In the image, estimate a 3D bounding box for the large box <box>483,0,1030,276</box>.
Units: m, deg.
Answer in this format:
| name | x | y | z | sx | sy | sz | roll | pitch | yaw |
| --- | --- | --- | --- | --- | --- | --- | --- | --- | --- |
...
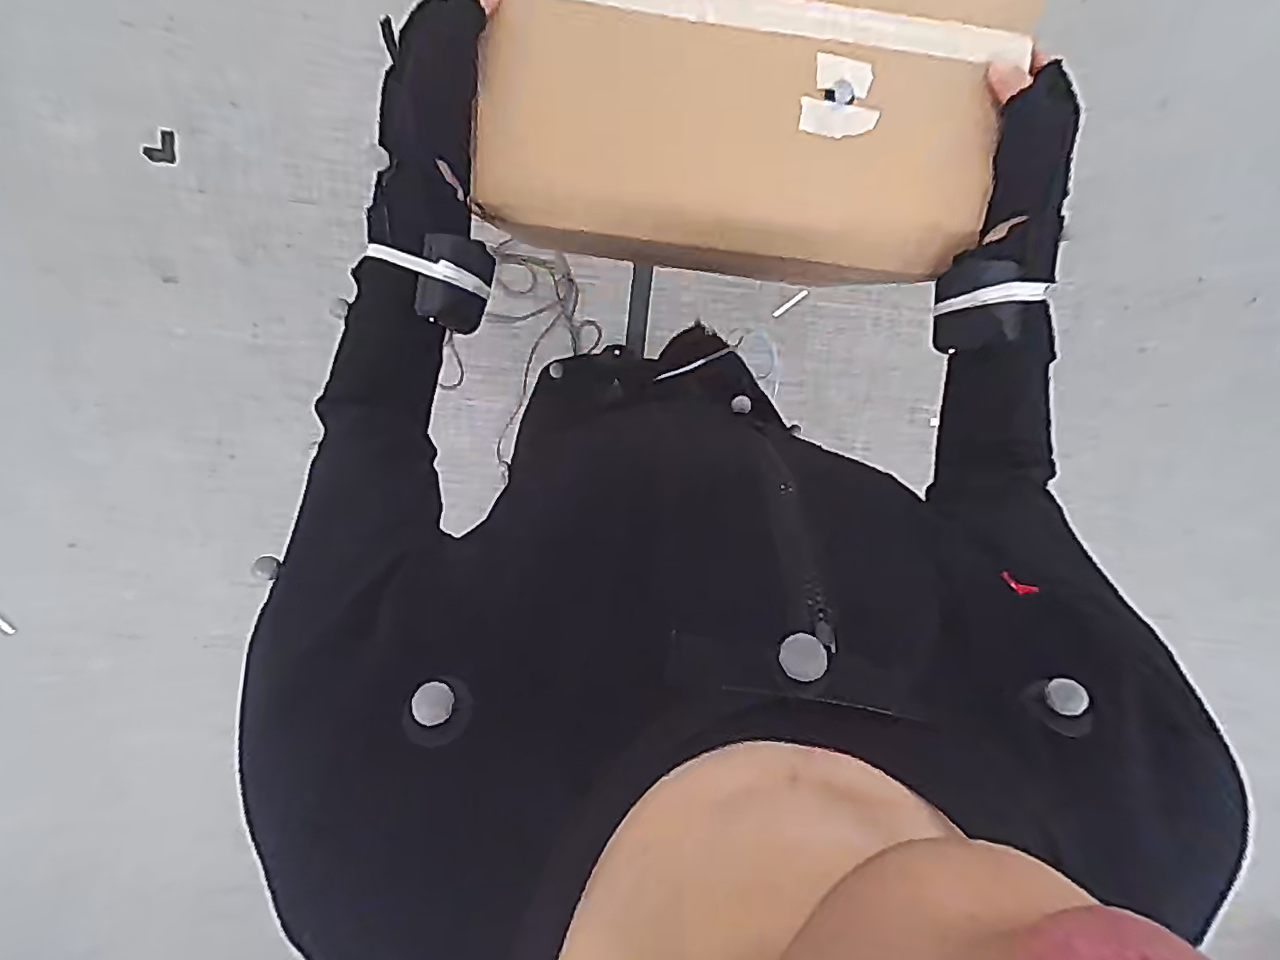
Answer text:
| name | x | y | z | sx | sy | sz | roll | pitch | yaw |
| --- | --- | --- | --- | --- | --- | --- | --- | --- | --- |
| large box | 0.078 | -0.390 | 0.535 | 0.408 | 0.320 | 0.320 | 6 | 110 | -5 |
